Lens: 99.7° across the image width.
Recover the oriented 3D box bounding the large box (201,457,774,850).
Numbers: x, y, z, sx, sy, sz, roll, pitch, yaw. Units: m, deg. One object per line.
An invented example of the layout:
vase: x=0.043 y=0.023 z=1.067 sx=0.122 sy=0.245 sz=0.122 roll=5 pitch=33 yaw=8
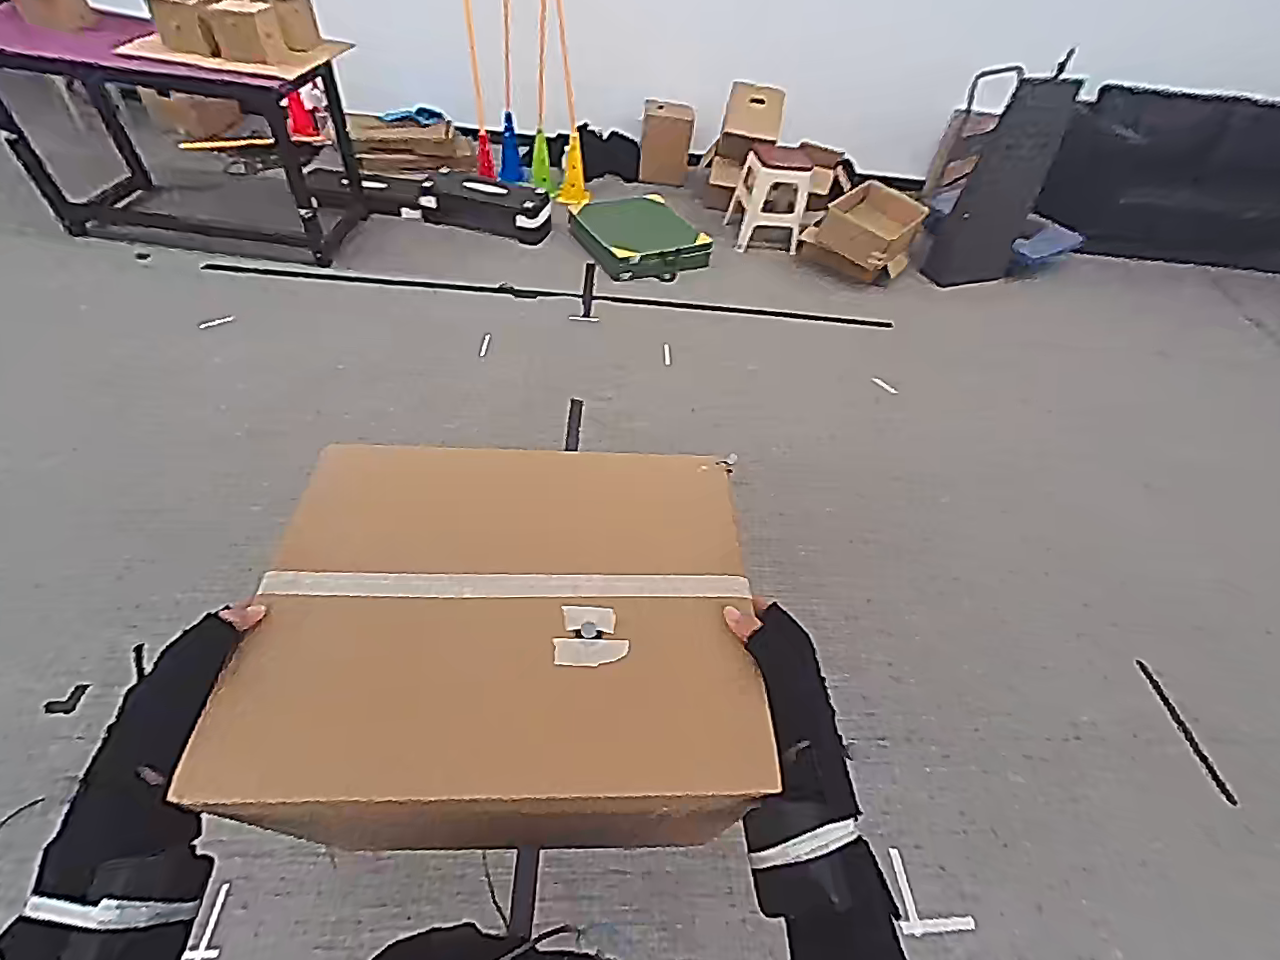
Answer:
large box: x=-0.117 y=0.191 z=0.584 sx=0.408 sy=0.320 sz=0.320 roll=2 pitch=52 yaw=-5
